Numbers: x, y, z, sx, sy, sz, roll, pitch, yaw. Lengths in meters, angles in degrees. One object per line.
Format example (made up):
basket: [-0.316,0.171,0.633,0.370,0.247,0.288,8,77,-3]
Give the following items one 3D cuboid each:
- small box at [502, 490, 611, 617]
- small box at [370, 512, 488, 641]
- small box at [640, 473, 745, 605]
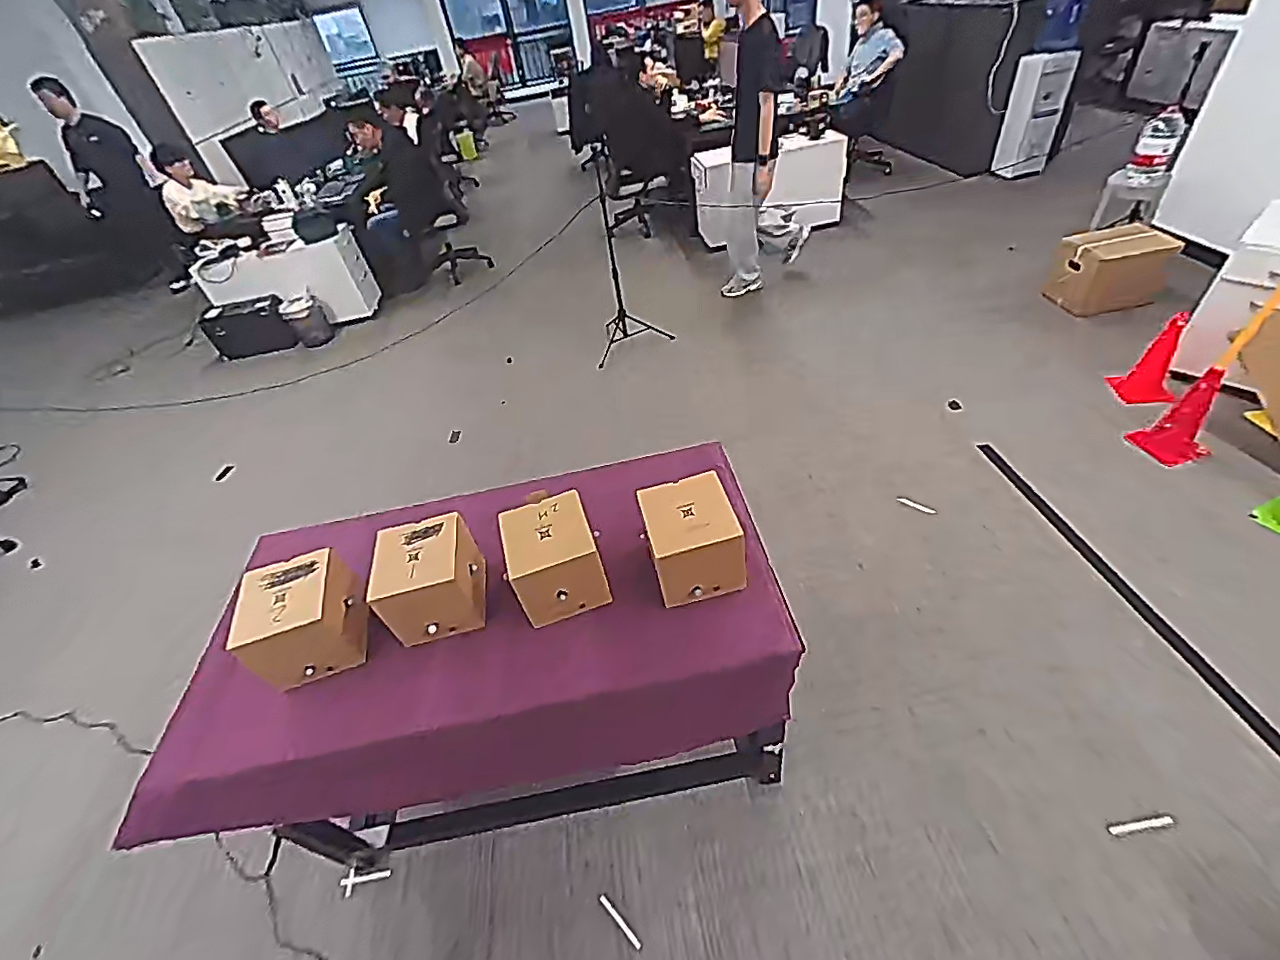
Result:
small box: [-0.166,0.154,1.090,0.168,0.176,0.179,-17,43,-7]
small box: [-0.417,0.196,1.099,0.168,0.176,0.179,-14,44,-3]
small box: [0.103,0.117,1.075,0.168,0.176,0.179,-14,43,-2]
